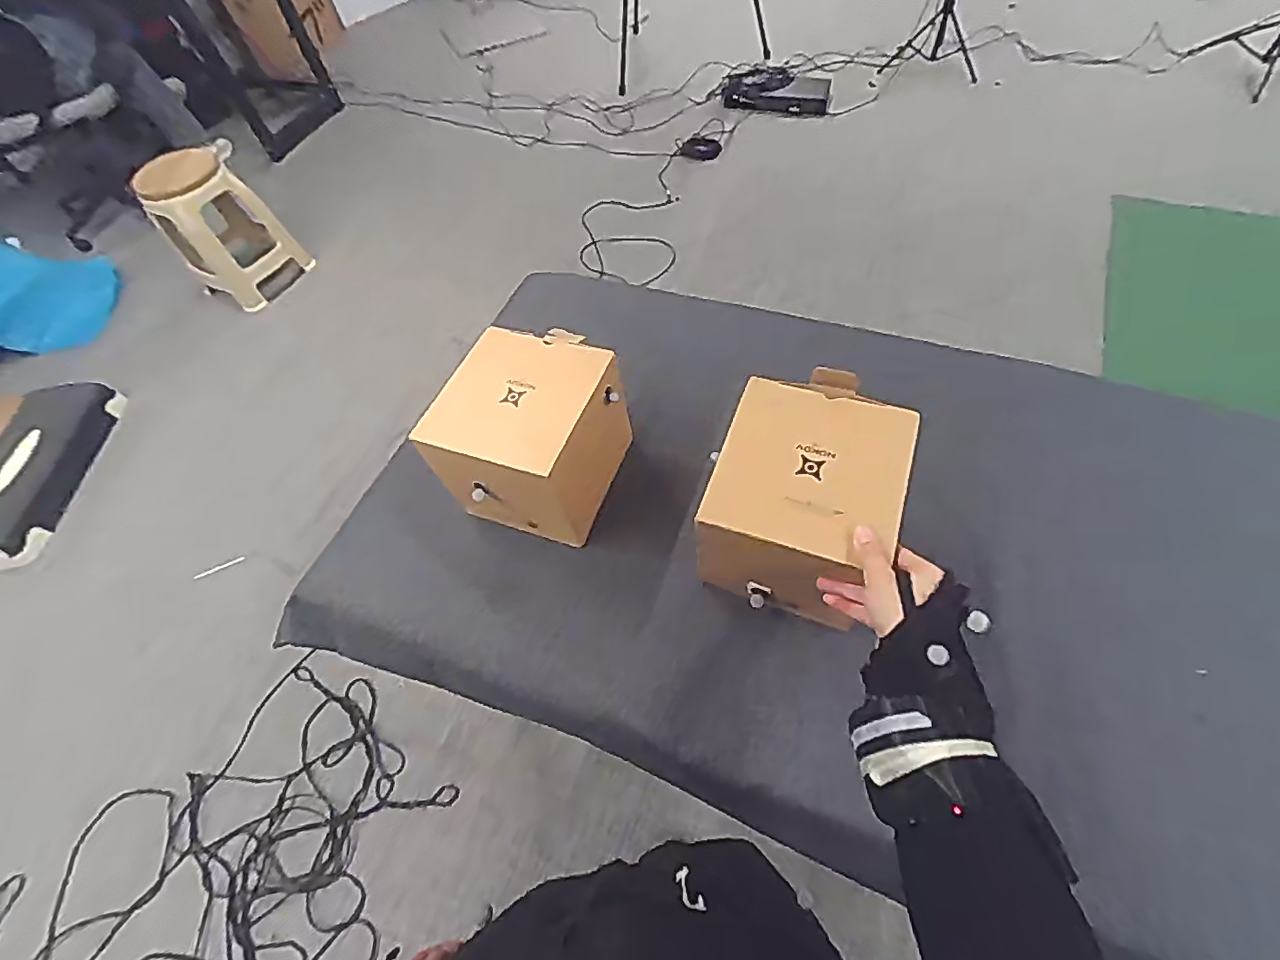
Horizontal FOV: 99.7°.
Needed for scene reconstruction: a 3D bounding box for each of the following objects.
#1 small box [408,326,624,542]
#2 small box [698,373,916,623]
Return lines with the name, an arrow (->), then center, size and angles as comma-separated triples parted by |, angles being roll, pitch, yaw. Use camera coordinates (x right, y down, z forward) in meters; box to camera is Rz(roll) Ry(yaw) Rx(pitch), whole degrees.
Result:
small box -> -0.127, -0.050, 0.639 | 0.168, 0.176, 0.179 | 14, 59, 15
small box -> 0.162, 0.022, 0.557 | 0.168, 0.176, 0.179 | 15, 63, 16
